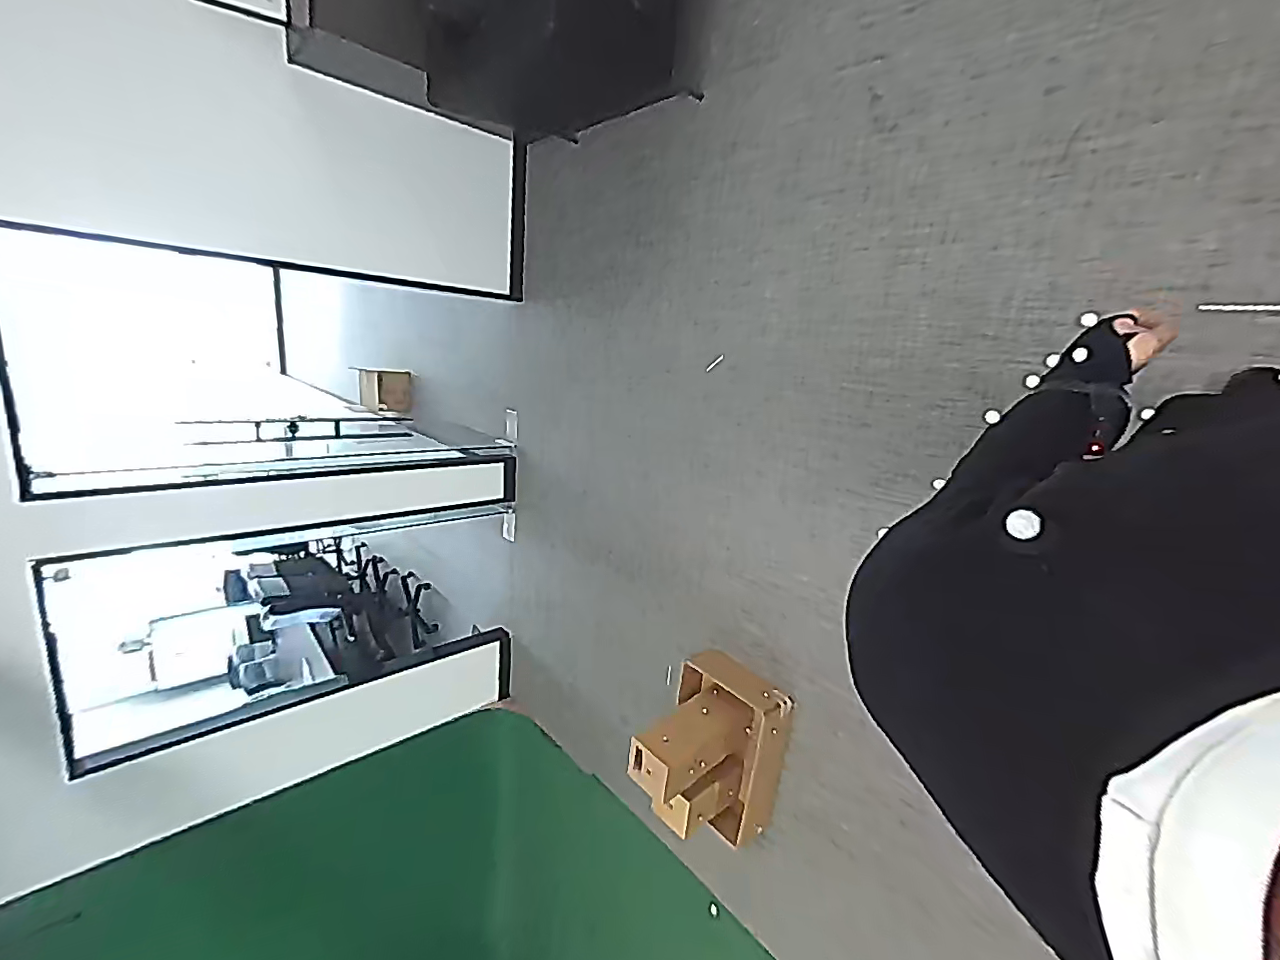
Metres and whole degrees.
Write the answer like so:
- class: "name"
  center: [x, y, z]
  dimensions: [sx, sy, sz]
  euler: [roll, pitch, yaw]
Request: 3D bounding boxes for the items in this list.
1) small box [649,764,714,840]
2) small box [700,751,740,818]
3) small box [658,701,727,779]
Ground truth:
- class: "small box"
  center: [0.158, 1.189, 2.033]
  dimensions: [0.179, 0.176, 0.168]
  euler: [19, 109, 45]
- class: "small box"
  center: [0.275, 1.179, 2.144]
  dimensions: [0.179, 0.176, 0.168]
  euler: [21, 109, 44]
- class: "small box"
  center: [0.189, 0.935, 1.968]
  dimensions: [0.179, 0.176, 0.168]
  euler: [21, 112, 44]
